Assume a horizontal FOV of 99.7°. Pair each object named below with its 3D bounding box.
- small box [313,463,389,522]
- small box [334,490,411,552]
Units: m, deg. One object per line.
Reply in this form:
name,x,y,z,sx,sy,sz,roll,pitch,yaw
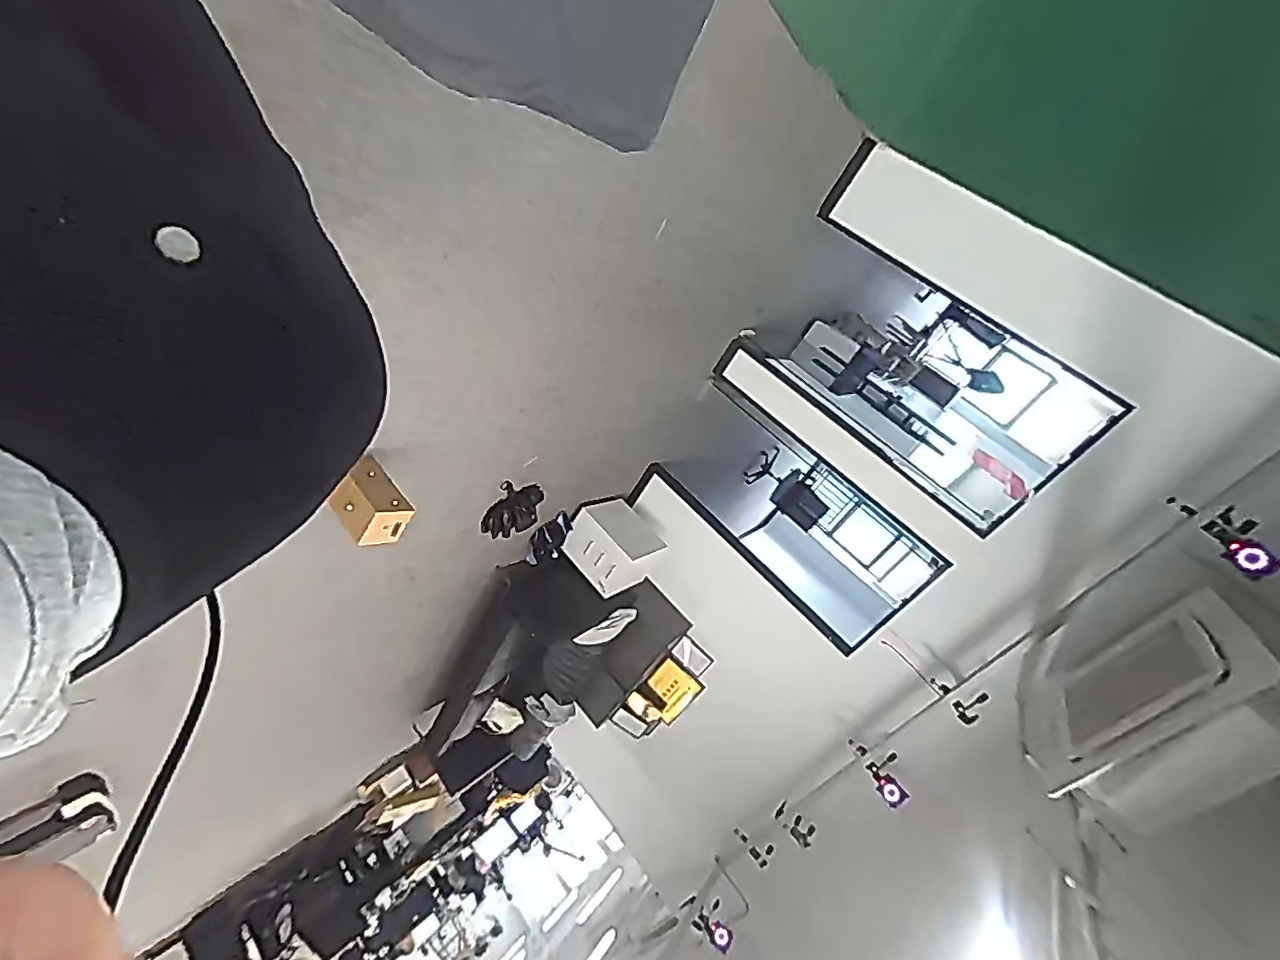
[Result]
small box,-1.141,0.046,2.130,0.168,0.176,0.179,-54,158,16
small box,-1.028,0.152,2.075,0.168,0.176,0.179,-54,159,15
